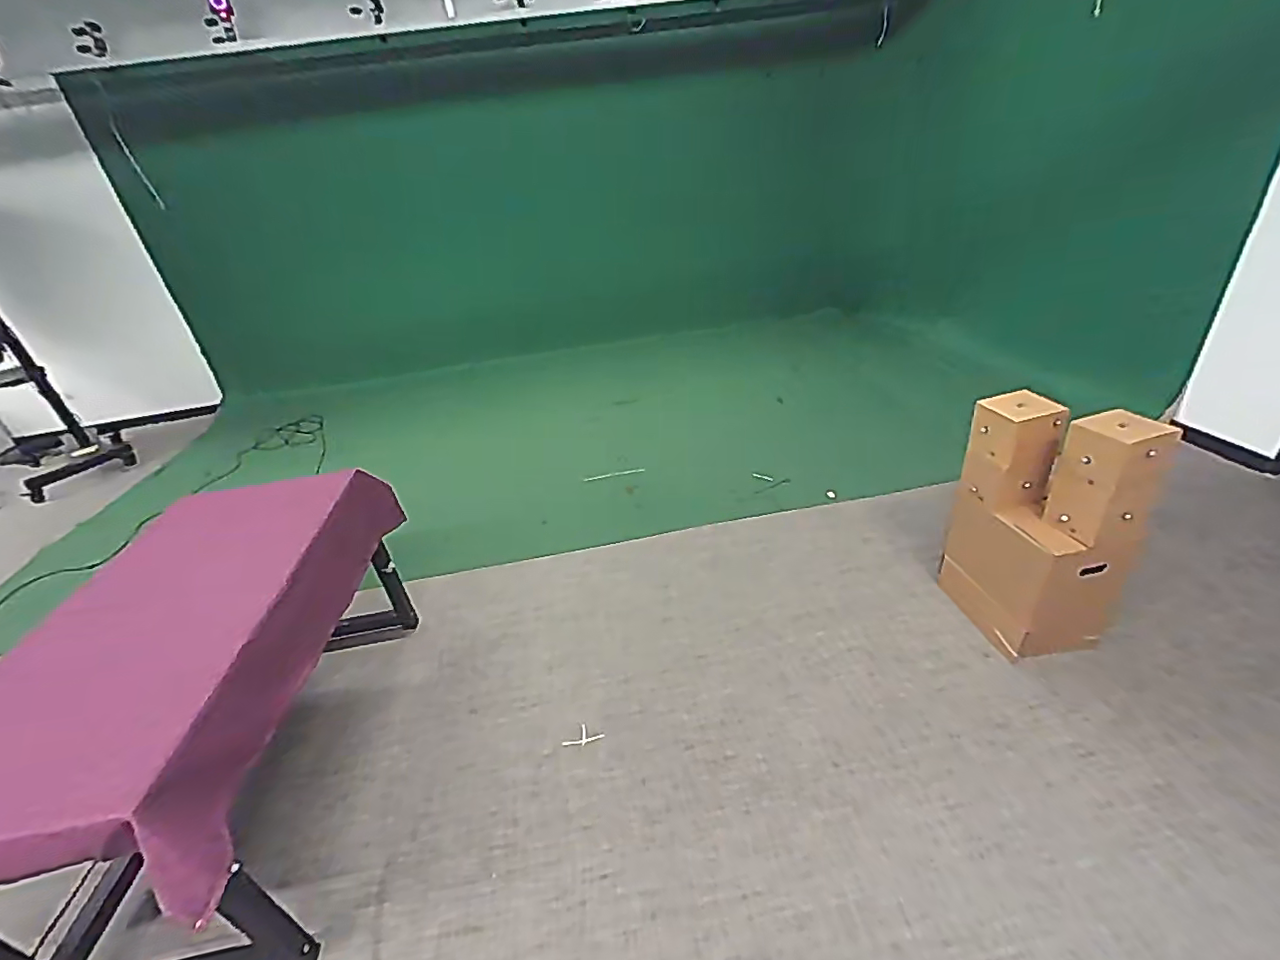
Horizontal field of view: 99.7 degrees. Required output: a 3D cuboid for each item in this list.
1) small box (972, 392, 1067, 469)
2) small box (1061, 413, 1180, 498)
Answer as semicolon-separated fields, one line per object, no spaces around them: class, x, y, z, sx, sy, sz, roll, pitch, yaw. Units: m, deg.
small box;1.167;-0.152;1.680;0.179;0.176;0.168;-13;32;-6
small box;1.319;-0.068;1.502;0.179;0.176;0.168;-12;30;-9
